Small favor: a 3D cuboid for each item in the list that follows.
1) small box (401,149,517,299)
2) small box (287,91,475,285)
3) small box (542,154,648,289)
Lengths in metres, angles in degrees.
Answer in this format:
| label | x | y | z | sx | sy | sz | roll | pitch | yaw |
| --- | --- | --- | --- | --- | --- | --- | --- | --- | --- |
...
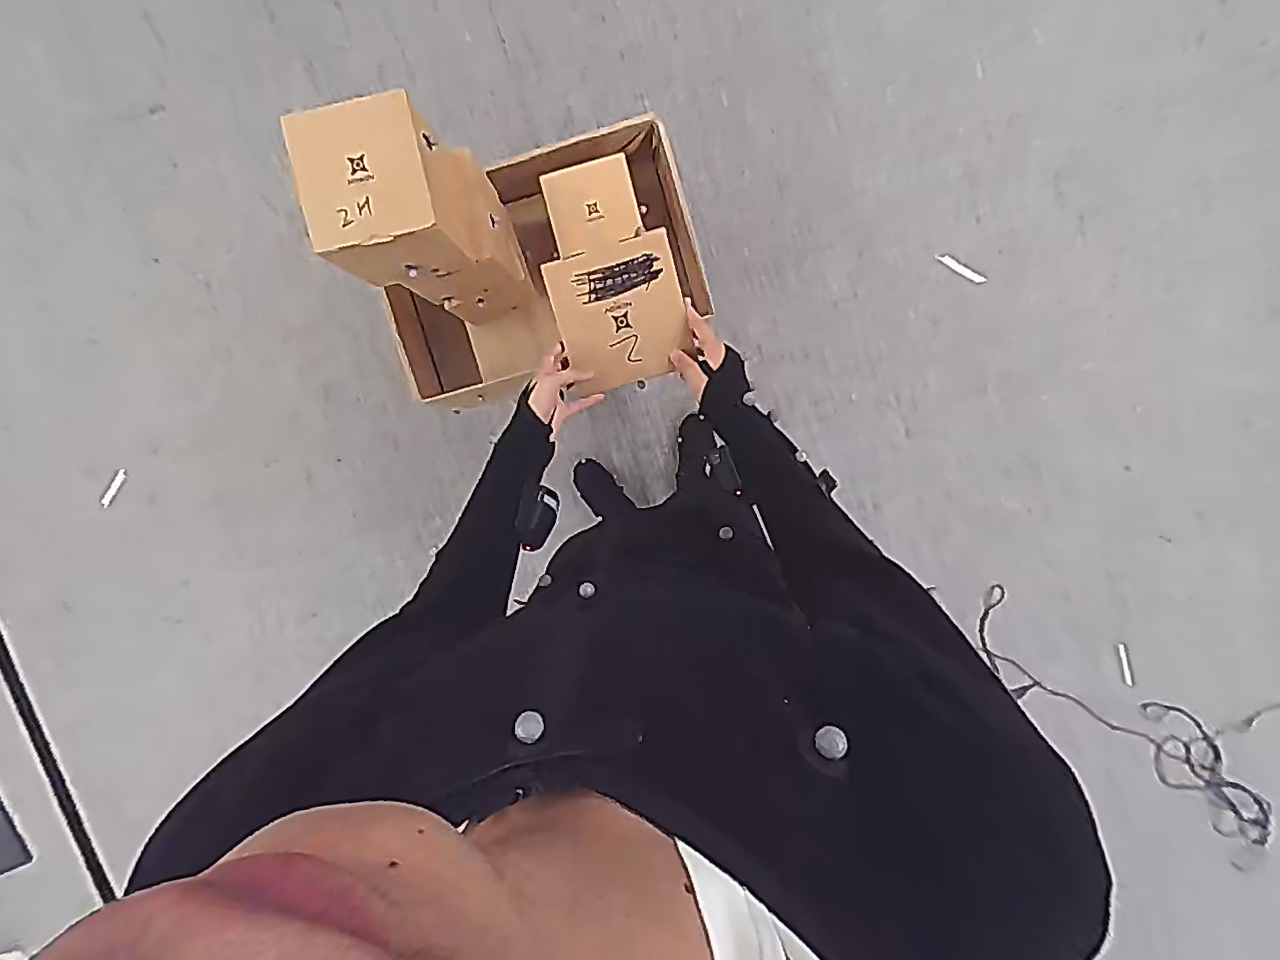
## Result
| label | x | y | z | sx | sy | sz | roll | pitch | yaw |
| --- | --- | --- | --- | --- | --- | --- | --- | --- | --- |
| small box | -0.324 | -0.425 | 0.933 | 0.168 | 0.176 | 0.179 | -13 | 95 | 1 |
| small box | -0.353 | -0.400 | 0.770 | 0.168 | 0.176 | 0.179 | -12 | 96 | 1 |
| small box | -0.086 | -0.509 | 1.090 | 0.168 | 0.176 | 0.179 | -15 | 96 | 2 |
